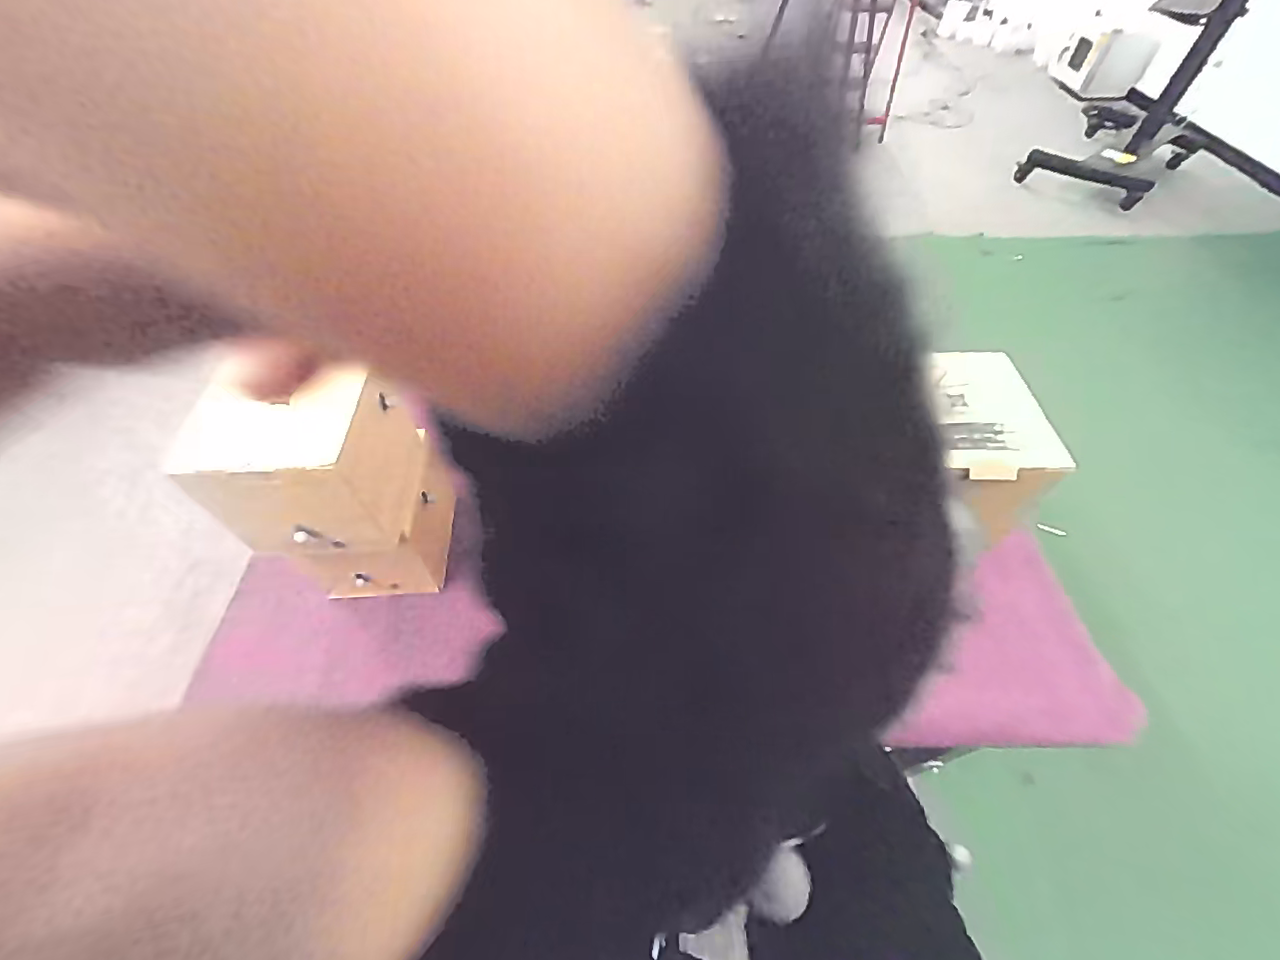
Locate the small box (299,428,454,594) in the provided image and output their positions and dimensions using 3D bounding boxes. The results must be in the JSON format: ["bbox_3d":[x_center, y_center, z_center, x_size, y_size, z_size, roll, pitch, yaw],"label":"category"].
[{"bbox_3d":[-0.375,0.046,0.777,0.168,0.176,0.179,-3,54,-4],"label":"small box"}]

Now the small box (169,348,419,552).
[{"bbox_3d":[-0.374,-0.033,0.630,0.168,0.176,0.179,-2,54,-2],"label":"small box"}]
